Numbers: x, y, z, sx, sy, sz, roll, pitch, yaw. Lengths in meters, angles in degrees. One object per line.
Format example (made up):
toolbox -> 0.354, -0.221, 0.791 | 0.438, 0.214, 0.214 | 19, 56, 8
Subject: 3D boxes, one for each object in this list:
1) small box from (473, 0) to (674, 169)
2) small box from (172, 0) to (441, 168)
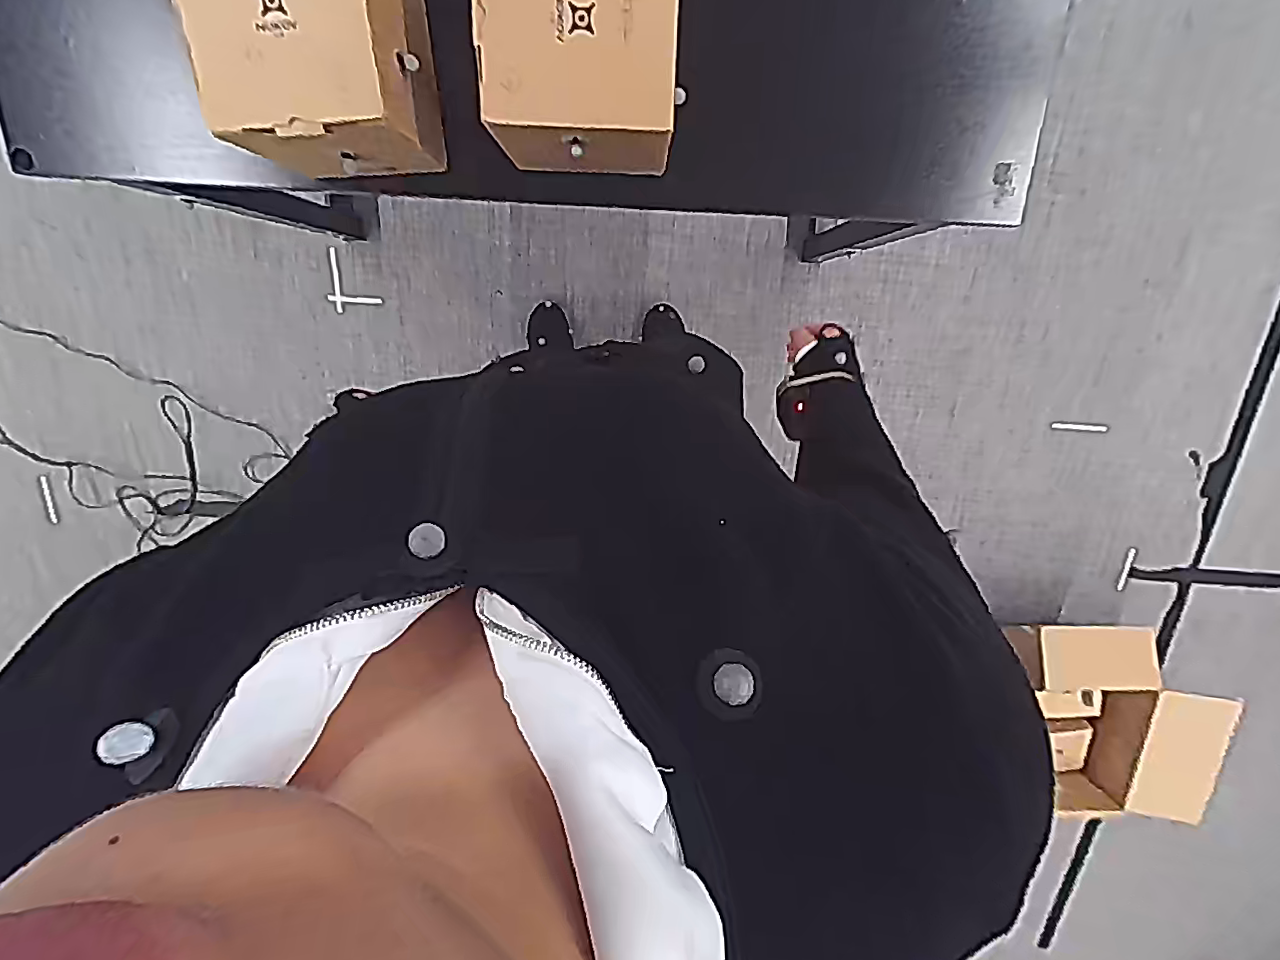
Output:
small box -> -0.058, -0.425, 0.543 | 0.179, 0.176, 0.168 | 1, 107, -1
small box -> -0.316, -0.426, 0.539 | 0.168, 0.176, 0.179 | -3, 107, 1
